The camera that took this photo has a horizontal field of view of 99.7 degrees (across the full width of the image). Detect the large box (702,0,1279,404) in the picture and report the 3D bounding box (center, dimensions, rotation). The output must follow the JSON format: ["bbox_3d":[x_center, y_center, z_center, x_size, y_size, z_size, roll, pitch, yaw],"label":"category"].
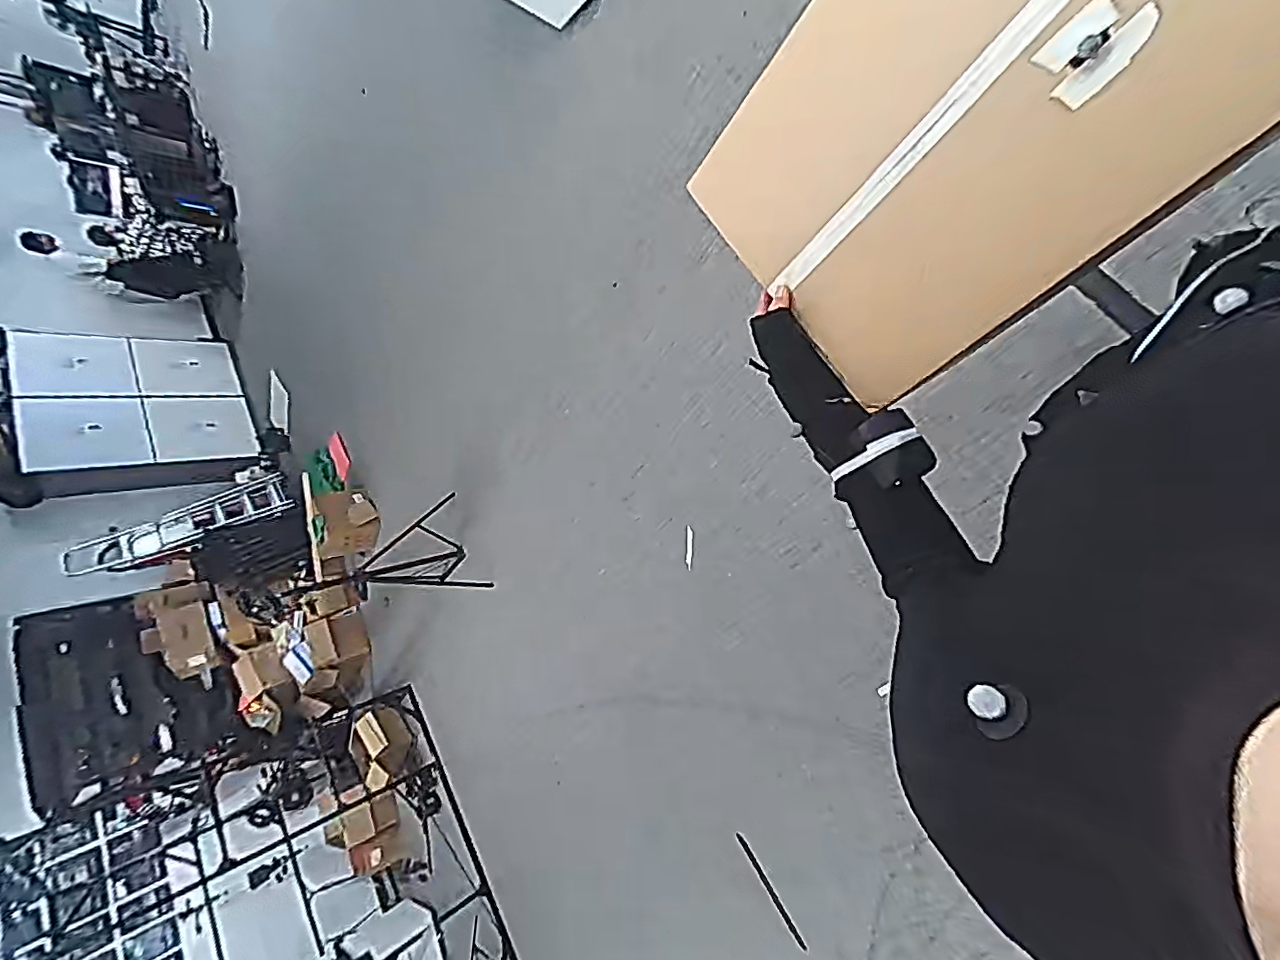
[{"bbox_3d":[0.346,-0.335,0.535,0.320,0.320,0.408,55,131,10],"label":"large box"}]
